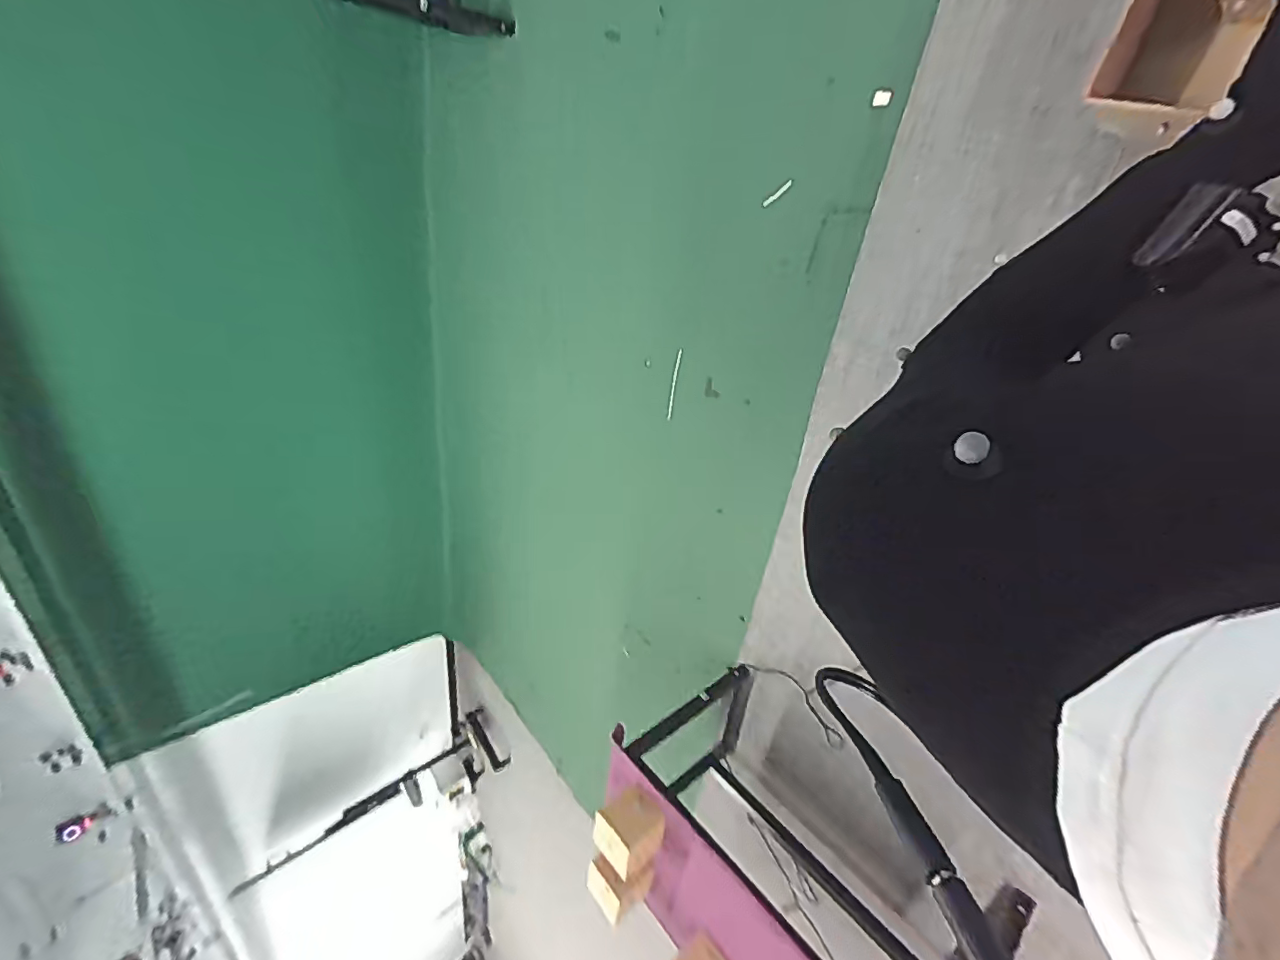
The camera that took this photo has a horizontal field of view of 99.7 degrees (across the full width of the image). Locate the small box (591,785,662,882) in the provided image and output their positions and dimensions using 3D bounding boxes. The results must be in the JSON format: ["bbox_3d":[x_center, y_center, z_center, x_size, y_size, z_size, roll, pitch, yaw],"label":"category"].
[{"bbox_3d":[-0.045,1.178,1.811,0.168,0.176,0.179,31,124,38],"label":"small box"}]

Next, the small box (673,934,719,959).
[{"bbox_3d":[0.173,1.612,1.712,0.168,0.176,0.179,31,125,39],"label":"small box"}]

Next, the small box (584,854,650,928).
[{"bbox_3d":[-0.081,1.449,1.956,0.168,0.176,0.179,33,127,38],"label":"small box"}]
